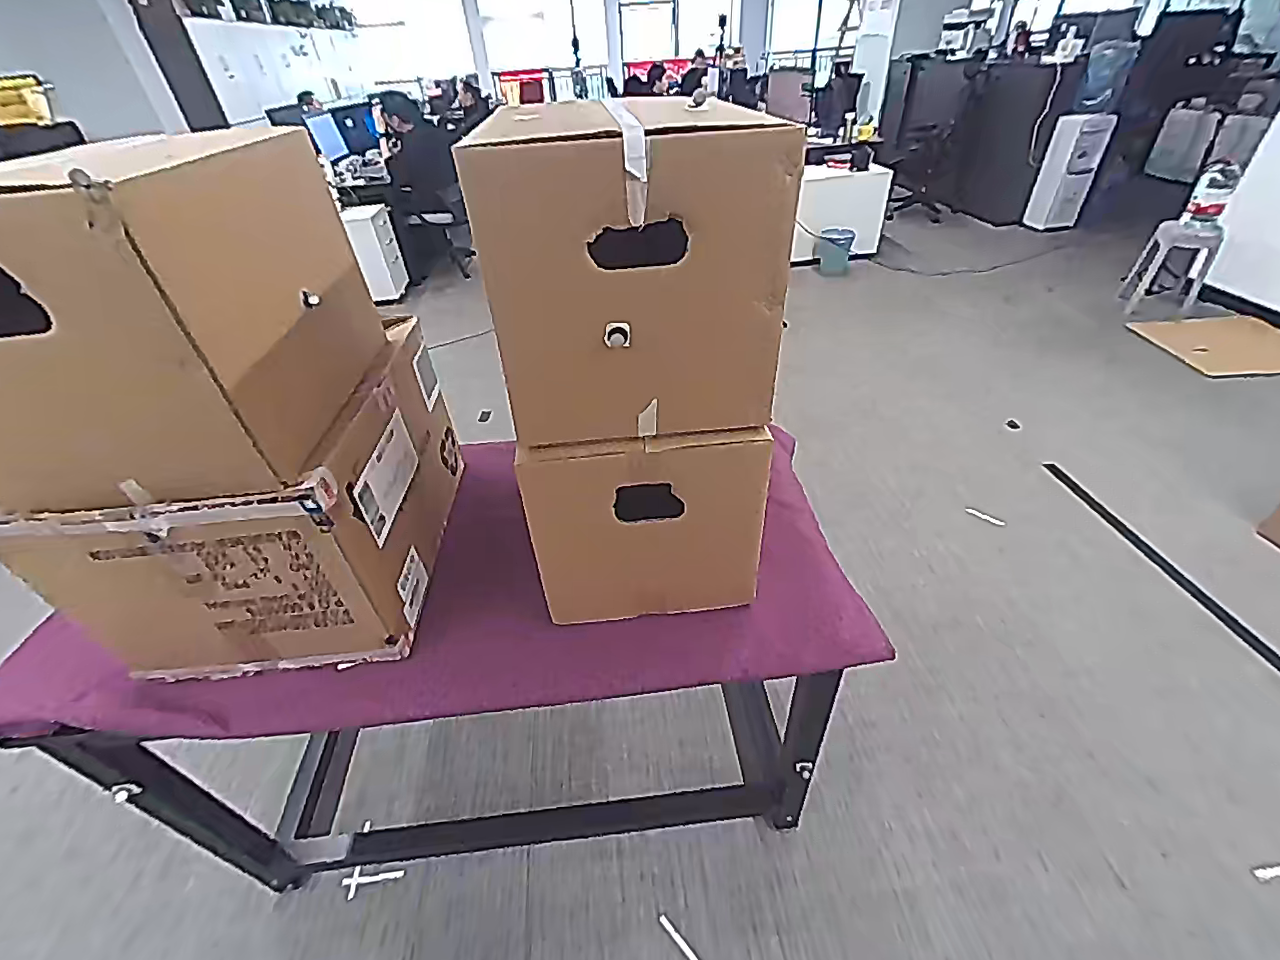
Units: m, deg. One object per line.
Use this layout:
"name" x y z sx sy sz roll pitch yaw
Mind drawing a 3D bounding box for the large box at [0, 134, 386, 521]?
"large box" -0.559 -0.209 0.661 0.320 0.320 0.408 -8 39 -2
